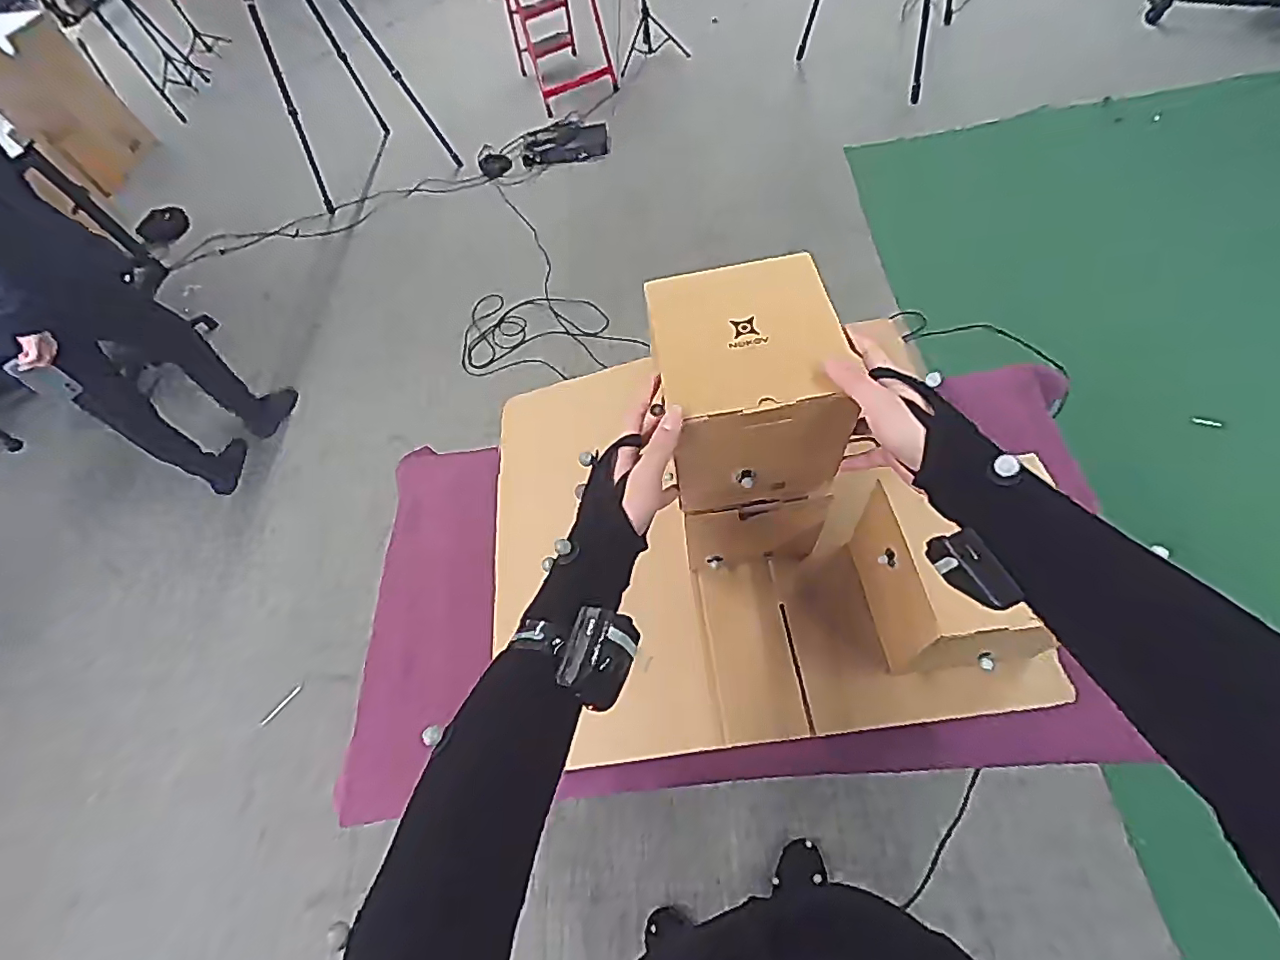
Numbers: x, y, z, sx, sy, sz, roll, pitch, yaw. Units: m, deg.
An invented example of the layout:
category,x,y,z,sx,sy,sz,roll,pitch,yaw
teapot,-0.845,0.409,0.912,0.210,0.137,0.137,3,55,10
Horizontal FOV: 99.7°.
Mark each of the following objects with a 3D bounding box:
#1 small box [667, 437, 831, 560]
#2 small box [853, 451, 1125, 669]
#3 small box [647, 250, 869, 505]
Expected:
category,x,y,z,sx,sy,sz,roll,pitch,yaw
small box,0.126,-0.009,0.686,0.168,0.176,0.179,-9,58,2
small box,0.351,0.094,0.593,0.168,0.176,0.179,-9,59,4
small box,0.104,-0.097,0.551,0.168,0.176,0.179,-10,61,2
